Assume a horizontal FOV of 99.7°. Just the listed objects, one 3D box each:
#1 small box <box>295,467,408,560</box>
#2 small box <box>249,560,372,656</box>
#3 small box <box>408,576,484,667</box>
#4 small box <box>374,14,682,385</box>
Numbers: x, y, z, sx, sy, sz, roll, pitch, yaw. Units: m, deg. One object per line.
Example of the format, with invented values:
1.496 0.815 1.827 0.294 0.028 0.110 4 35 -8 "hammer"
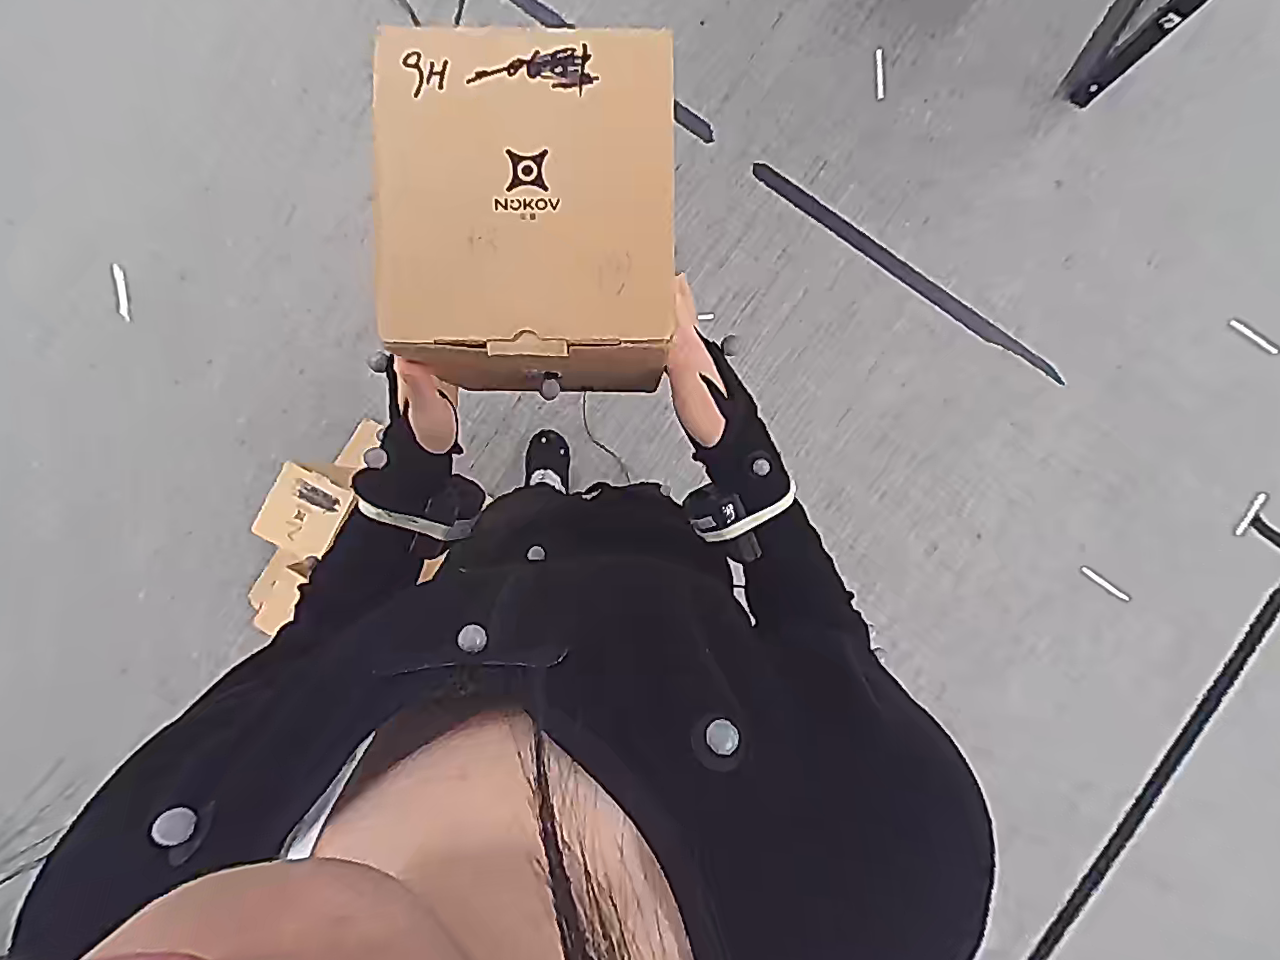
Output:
-0.728 0.081 1.391 0.168 0.176 0.179 29 89 0 "small box"
-0.835 0.318 1.387 0.179 0.176 0.168 28 91 0 "small box"
-0.532 0.363 1.389 0.179 0.176 0.168 37 89 -1 "small box"
-0.061 -0.162 0.371 0.168 0.176 0.179 0 91 -2 "small box"
